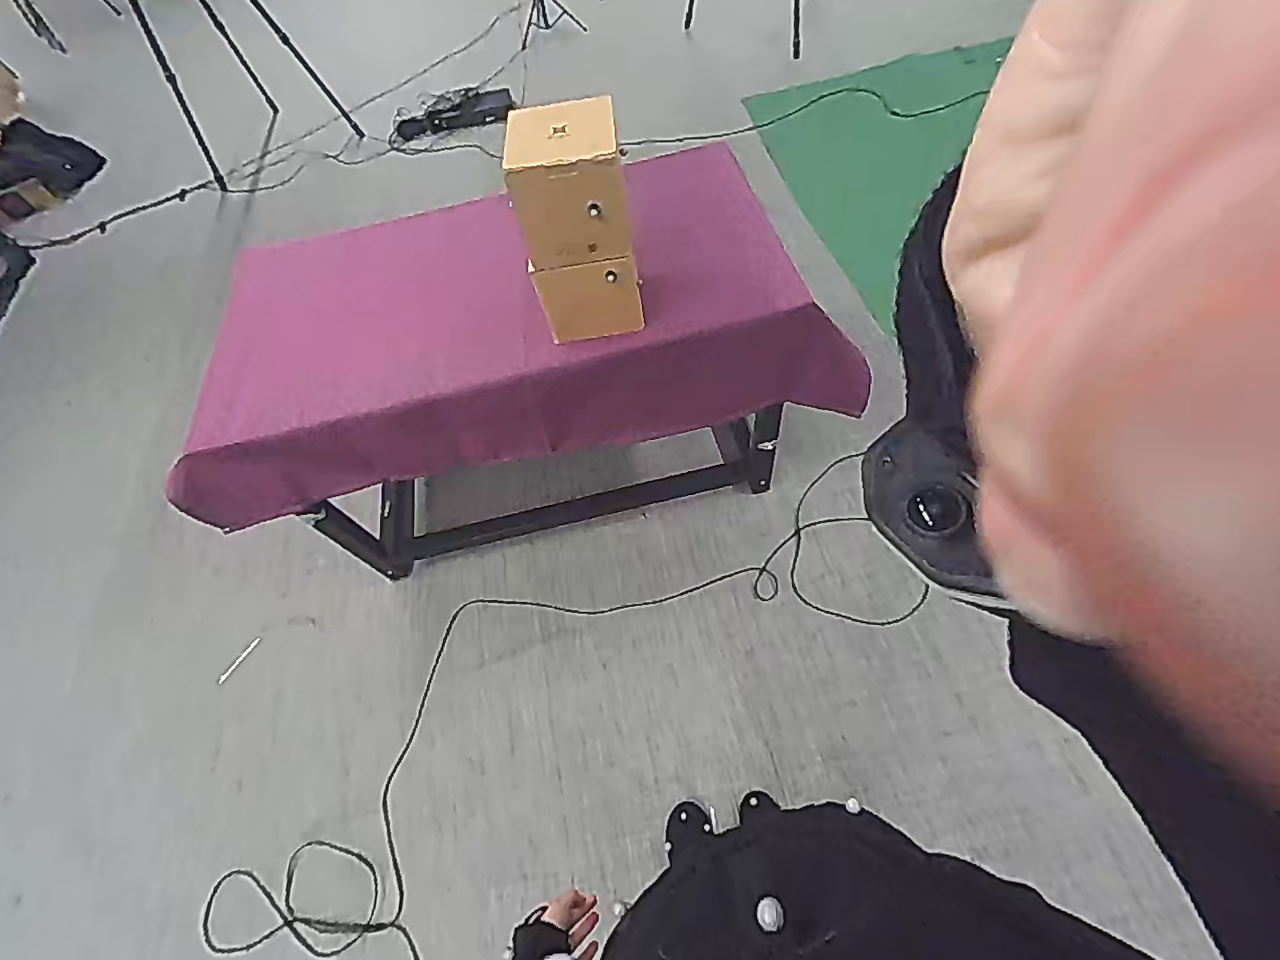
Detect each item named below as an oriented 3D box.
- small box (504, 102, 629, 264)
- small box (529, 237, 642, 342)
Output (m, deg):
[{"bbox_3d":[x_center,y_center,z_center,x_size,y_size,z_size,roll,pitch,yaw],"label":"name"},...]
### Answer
[{"bbox_3d":[-0.111,-0.471,0.879,0.168,0.176,0.179,-6,57,3],"label":"small box"},{"bbox_3d":[-0.098,-0.380,1.014,0.179,0.176,0.168,-8,57,3],"label":"small box"}]
